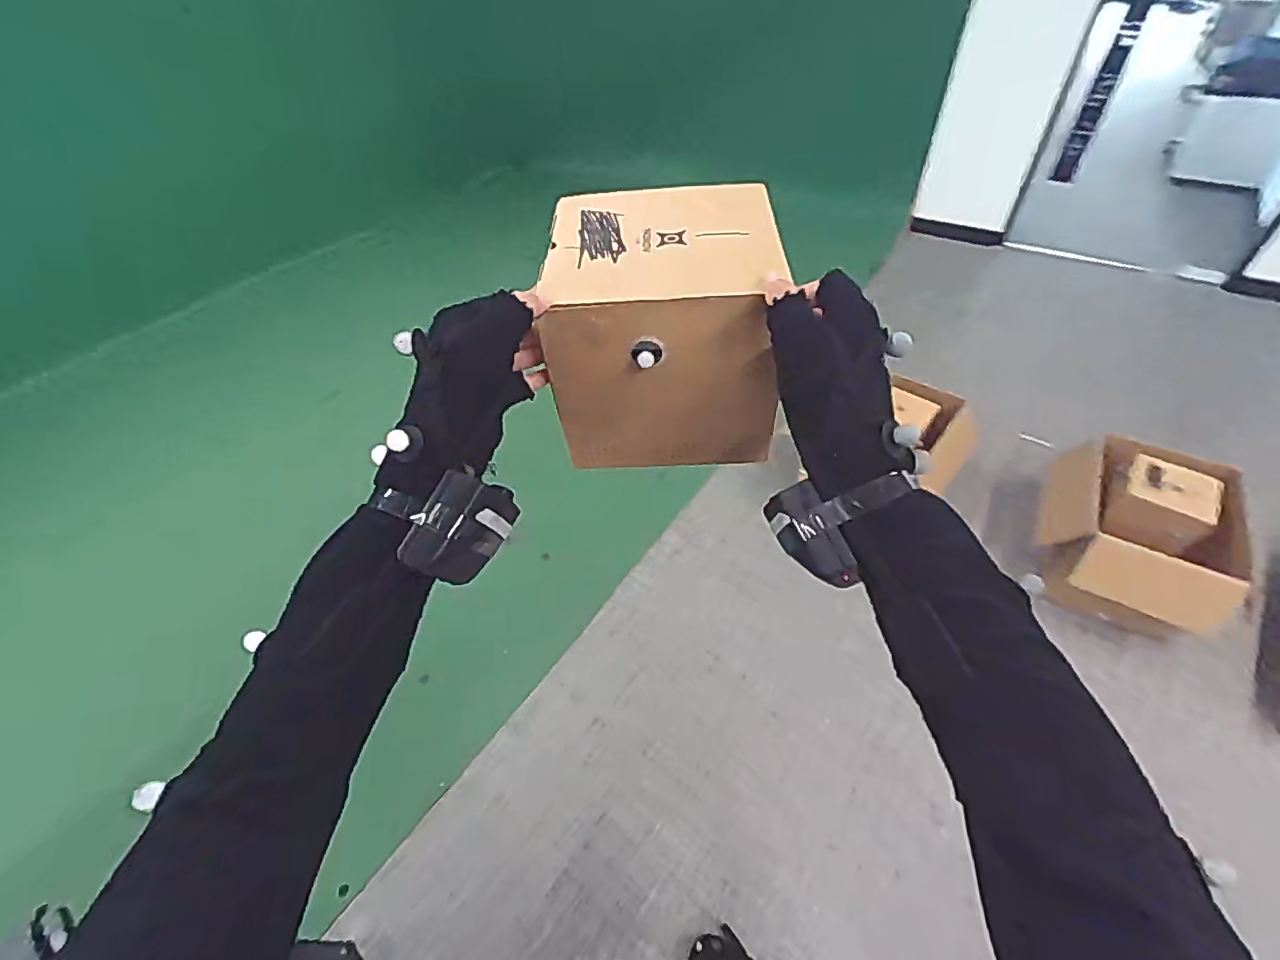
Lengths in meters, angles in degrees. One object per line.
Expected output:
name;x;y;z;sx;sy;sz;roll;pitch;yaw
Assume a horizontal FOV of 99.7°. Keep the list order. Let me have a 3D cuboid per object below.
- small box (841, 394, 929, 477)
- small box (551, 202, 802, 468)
small box;0.764;-0.134;1.700;0.179;0.176;0.168;31;57;28
small box;0.032;-0.123;0.479;0.179;0.176;0.168;-1;50;4
